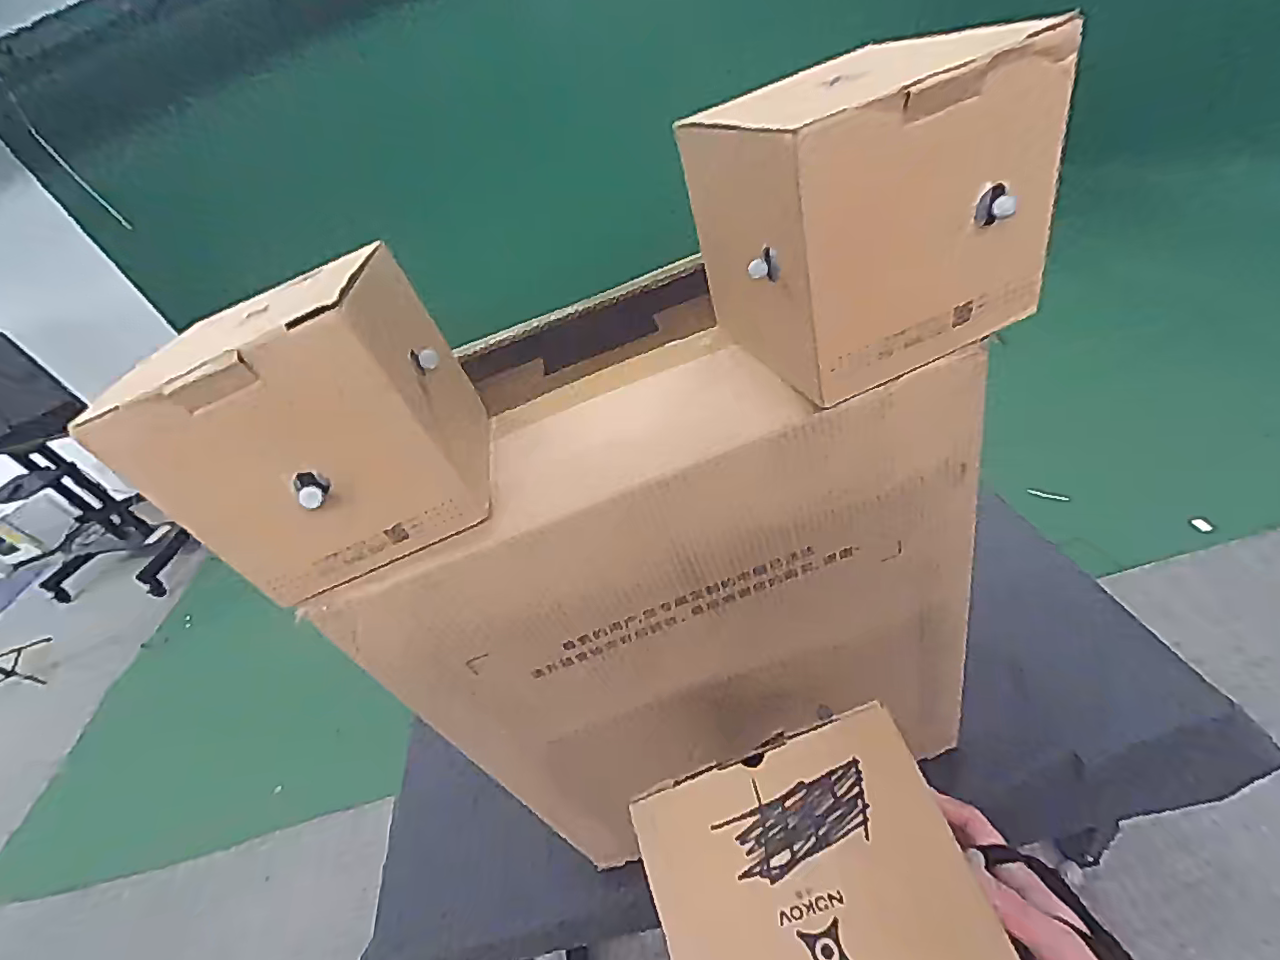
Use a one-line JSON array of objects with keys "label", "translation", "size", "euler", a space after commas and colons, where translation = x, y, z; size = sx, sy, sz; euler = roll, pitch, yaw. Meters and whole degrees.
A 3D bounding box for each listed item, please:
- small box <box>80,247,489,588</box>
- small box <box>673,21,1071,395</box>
[{"label": "small box", "translation": [-0.227, -0.043, 0.409], "size": [0.168, 0.176, 0.179], "euler": [-24, 38, 1]}, {"label": "small box", "translation": [0.145, -0.180, 0.383], "size": [0.168, 0.176, 0.179], "euler": [-24, 36, -4]}]
